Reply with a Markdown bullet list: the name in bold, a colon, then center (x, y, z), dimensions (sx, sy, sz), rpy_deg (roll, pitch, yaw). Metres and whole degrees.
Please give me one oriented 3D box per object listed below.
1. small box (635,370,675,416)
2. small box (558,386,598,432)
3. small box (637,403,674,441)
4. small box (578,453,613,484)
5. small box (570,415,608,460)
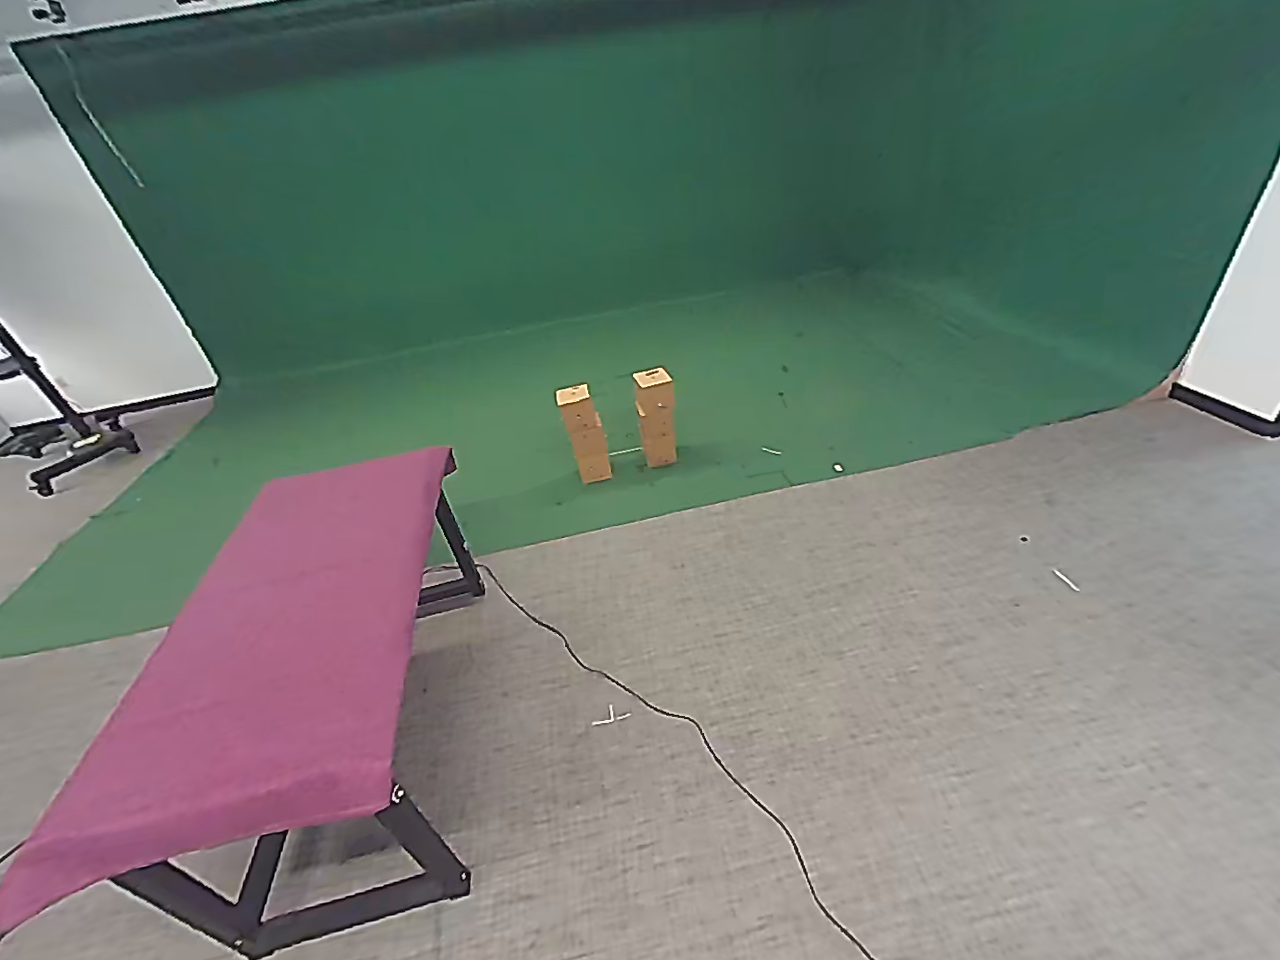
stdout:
- **small box**: center (0.079, -0.457, 2.841), dimensions (0.168, 0.176, 0.179), rpy_deg (-16, 37, -9)
- **small box**: center (-0.322, -0.361, 2.806), dimensions (0.168, 0.176, 0.179), rpy_deg (-14, 35, -3)
- **small box**: center (0.086, -0.322, 2.935), dimensions (0.168, 0.176, 0.179), rpy_deg (-12, 35, -5)
- **small box**: center (-0.250, -0.095, 2.986), dimensions (0.168, 0.176, 0.179), rpy_deg (-14, 34, -4)
- **small box**: center (-0.276, -0.224, 2.889), dimensions (0.179, 0.176, 0.168), rpy_deg (-13, 35, -5)
